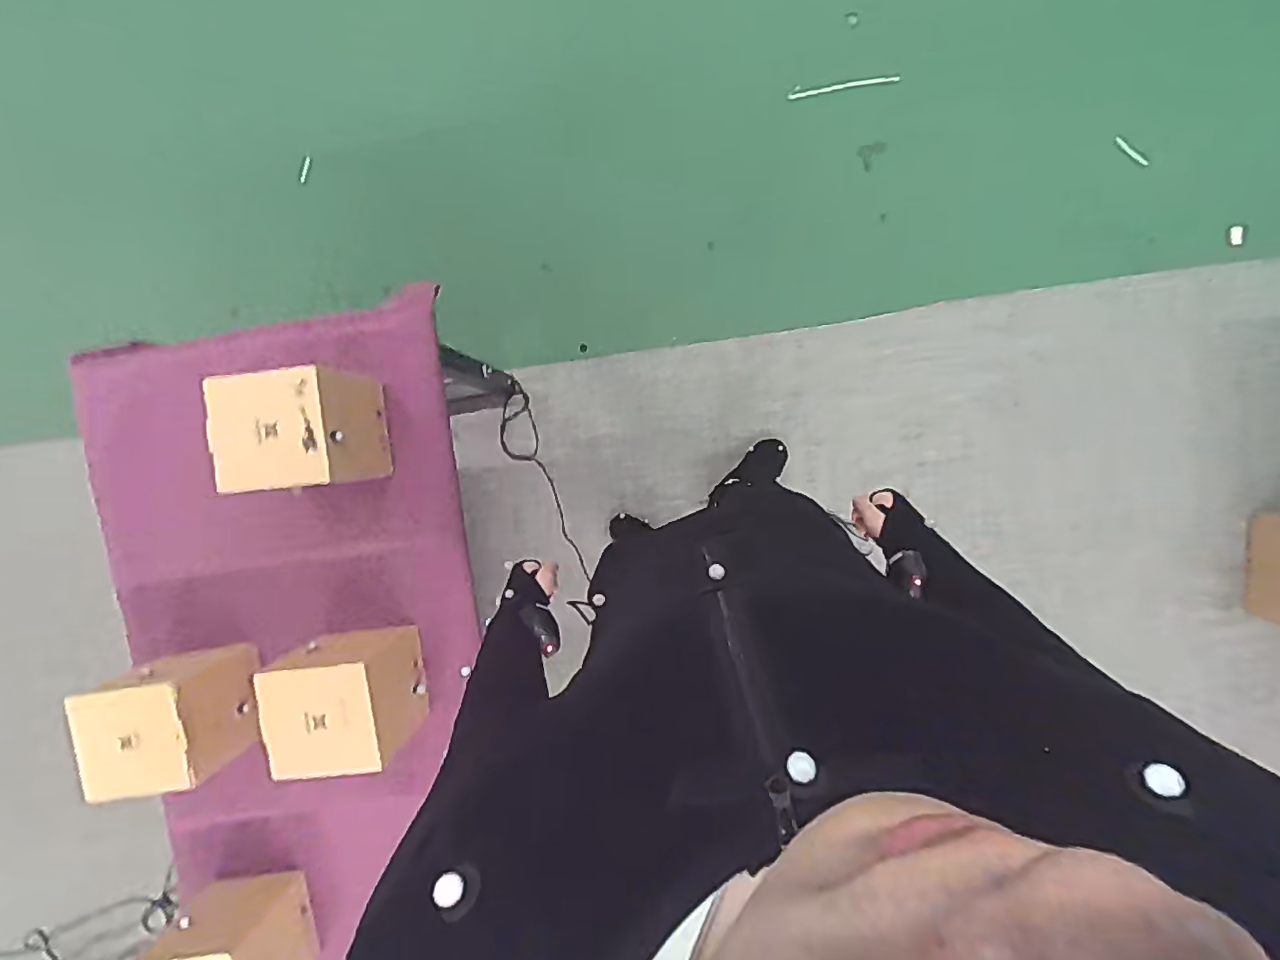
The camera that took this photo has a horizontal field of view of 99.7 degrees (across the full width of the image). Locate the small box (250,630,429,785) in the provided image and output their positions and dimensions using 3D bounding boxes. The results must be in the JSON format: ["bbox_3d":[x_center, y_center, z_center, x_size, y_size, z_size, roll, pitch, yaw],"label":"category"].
[{"bbox_3d":[-0.464,0.350,0.857,0.179,0.176,0.168,-7,94,4],"label":"small box"}]

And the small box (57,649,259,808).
[{"bbox_3d":[-0.758,0.391,0.875,0.179,0.176,0.168,-10,93,2],"label":"small box"}]

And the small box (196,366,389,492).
[{"bbox_3d":[-0.521,-0.075,0.831,0.179,0.176,0.168,-5,95,6],"label":"small box"}]
